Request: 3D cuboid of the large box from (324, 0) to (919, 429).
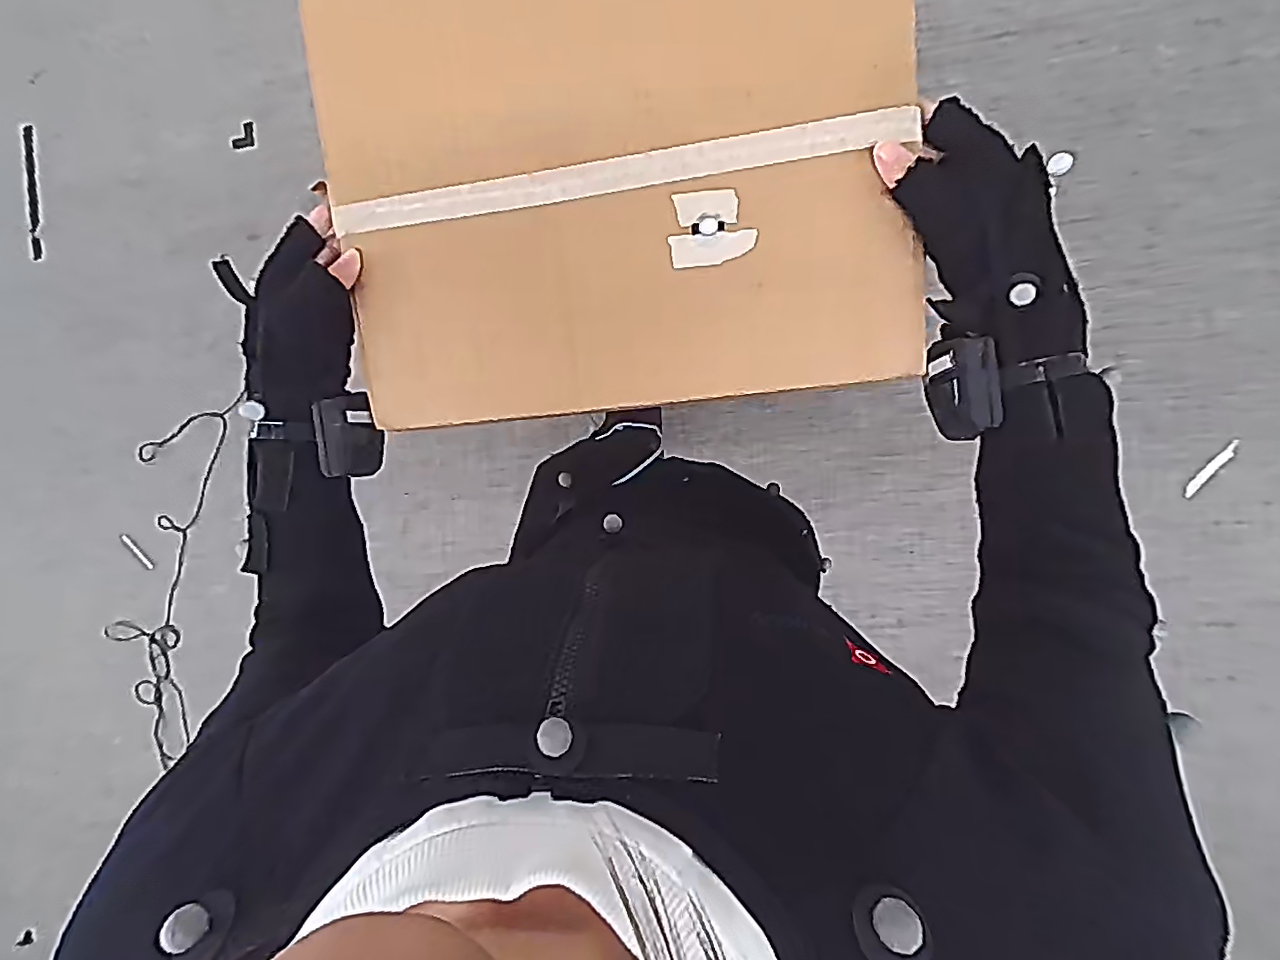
[{"bbox_3d":[-0.002,-0.234,0.531,0.408,0.320,0.320,-6,99,7],"label":"large box"}]
